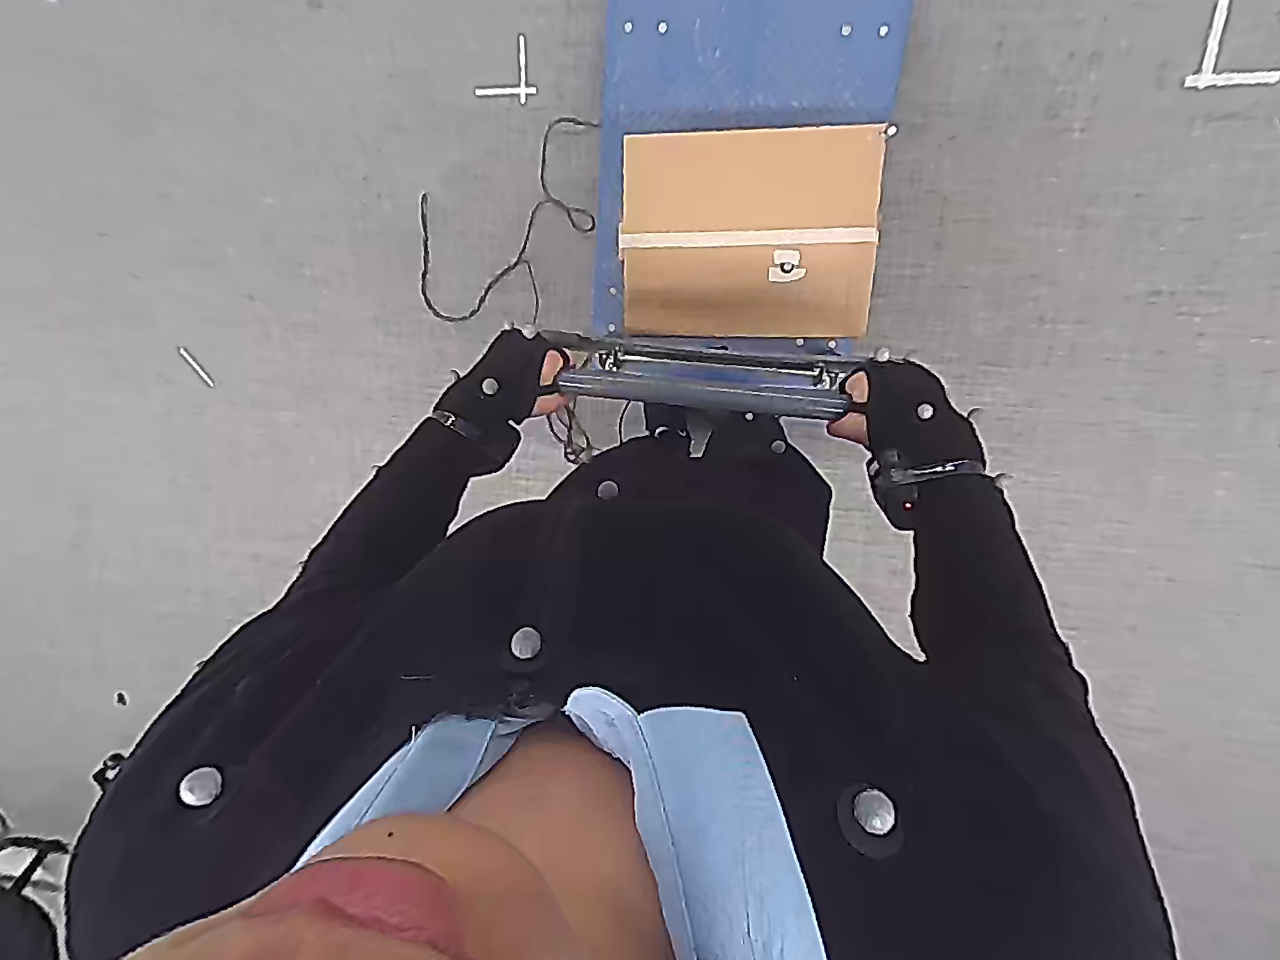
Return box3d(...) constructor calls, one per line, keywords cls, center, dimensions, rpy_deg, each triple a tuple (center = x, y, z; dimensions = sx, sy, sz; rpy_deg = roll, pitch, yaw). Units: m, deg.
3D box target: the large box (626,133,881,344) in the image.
box3d(cls="large box", center=(0.191, -0.424, 1.031), dimensions=(0.408, 0.320, 0.320), rpy_deg=(2, 105, 6))
